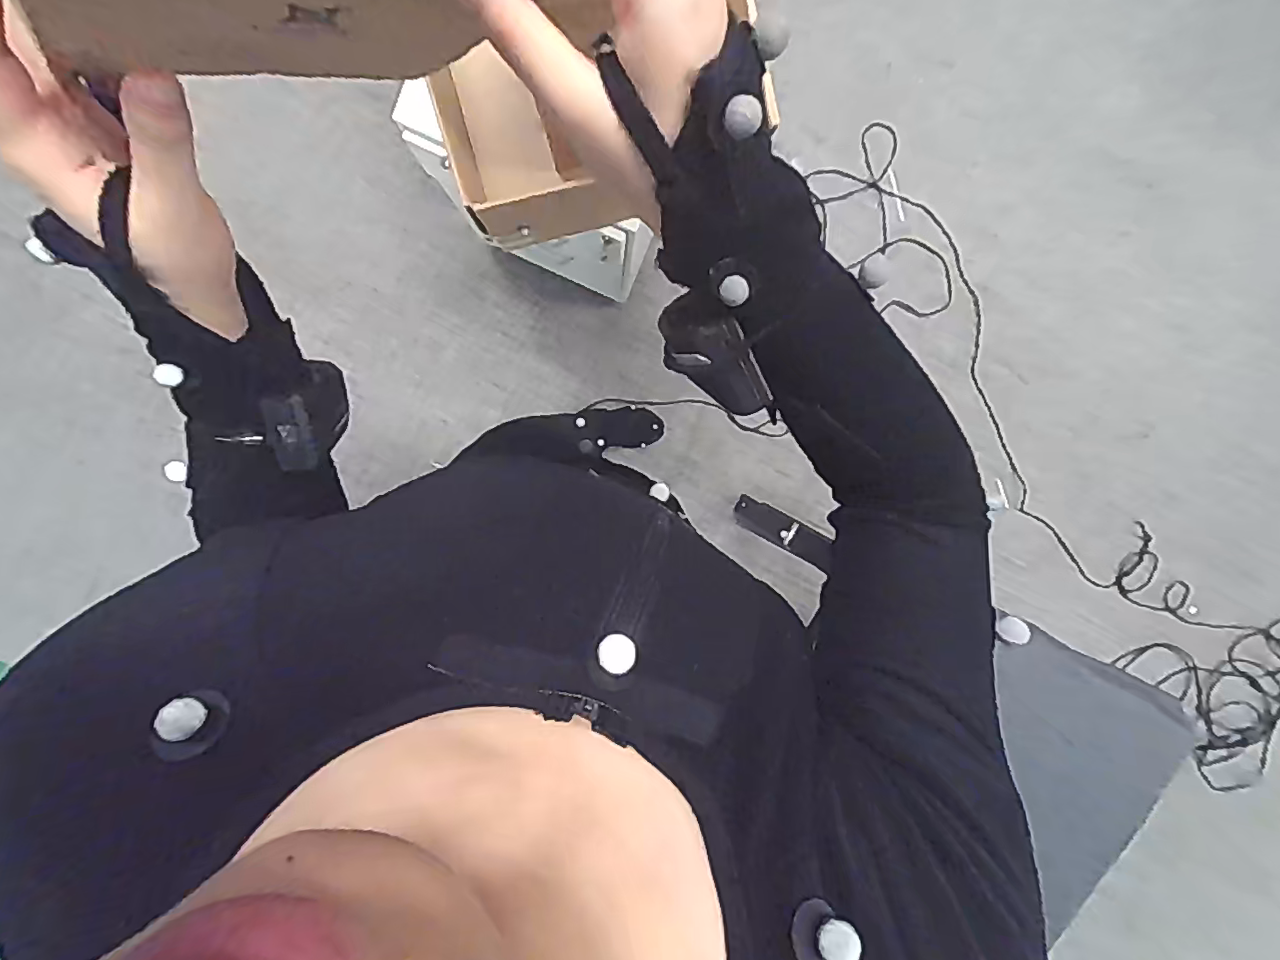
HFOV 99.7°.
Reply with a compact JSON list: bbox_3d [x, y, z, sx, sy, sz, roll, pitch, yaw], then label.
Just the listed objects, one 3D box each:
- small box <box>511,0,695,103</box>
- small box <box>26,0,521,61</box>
[{"bbox_3d":[-0.047,-0.515,0.529,0.179,0.176,0.168,-13,96,0],"label":"small box"},{"bbox_3d":[-0.143,-0.263,0.176,0.168,0.179,0.176,-28,124,-32],"label":"small box"}]
